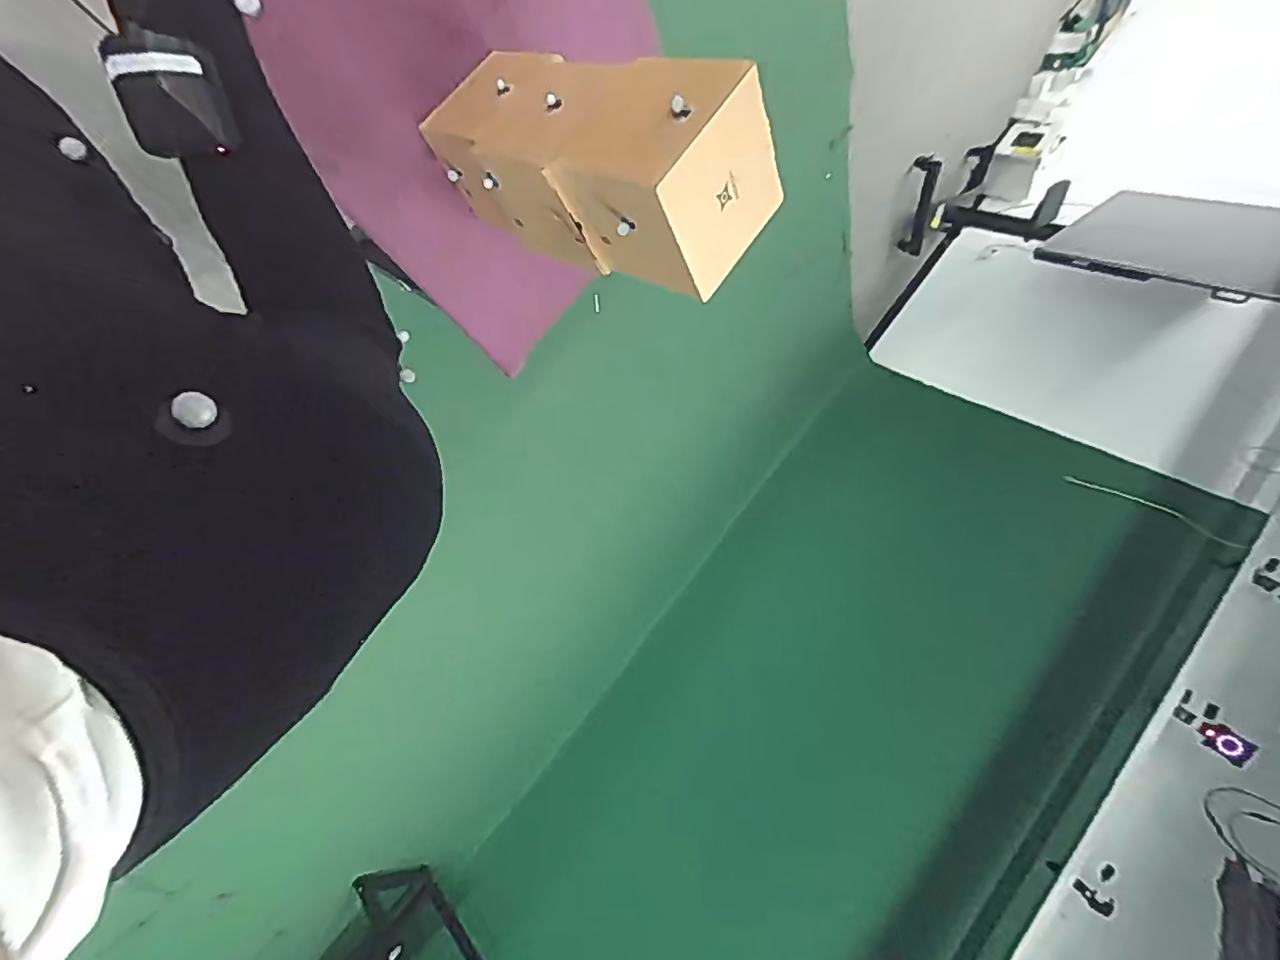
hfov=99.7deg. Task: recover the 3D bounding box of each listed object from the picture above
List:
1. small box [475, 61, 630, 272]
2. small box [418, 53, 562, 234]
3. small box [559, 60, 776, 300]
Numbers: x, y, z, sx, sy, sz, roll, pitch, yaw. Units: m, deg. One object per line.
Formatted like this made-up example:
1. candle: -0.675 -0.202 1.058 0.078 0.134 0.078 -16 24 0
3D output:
1. small box: -0.092 -0.416 0.721 0.179 0.176 0.168 -53 146 -8
2. small box: -0.193 -0.506 0.814 0.179 0.176 0.168 -50 146 -9
3. small box: 0.029 -0.349 0.635 0.179 0.176 0.168 -54 146 -7
